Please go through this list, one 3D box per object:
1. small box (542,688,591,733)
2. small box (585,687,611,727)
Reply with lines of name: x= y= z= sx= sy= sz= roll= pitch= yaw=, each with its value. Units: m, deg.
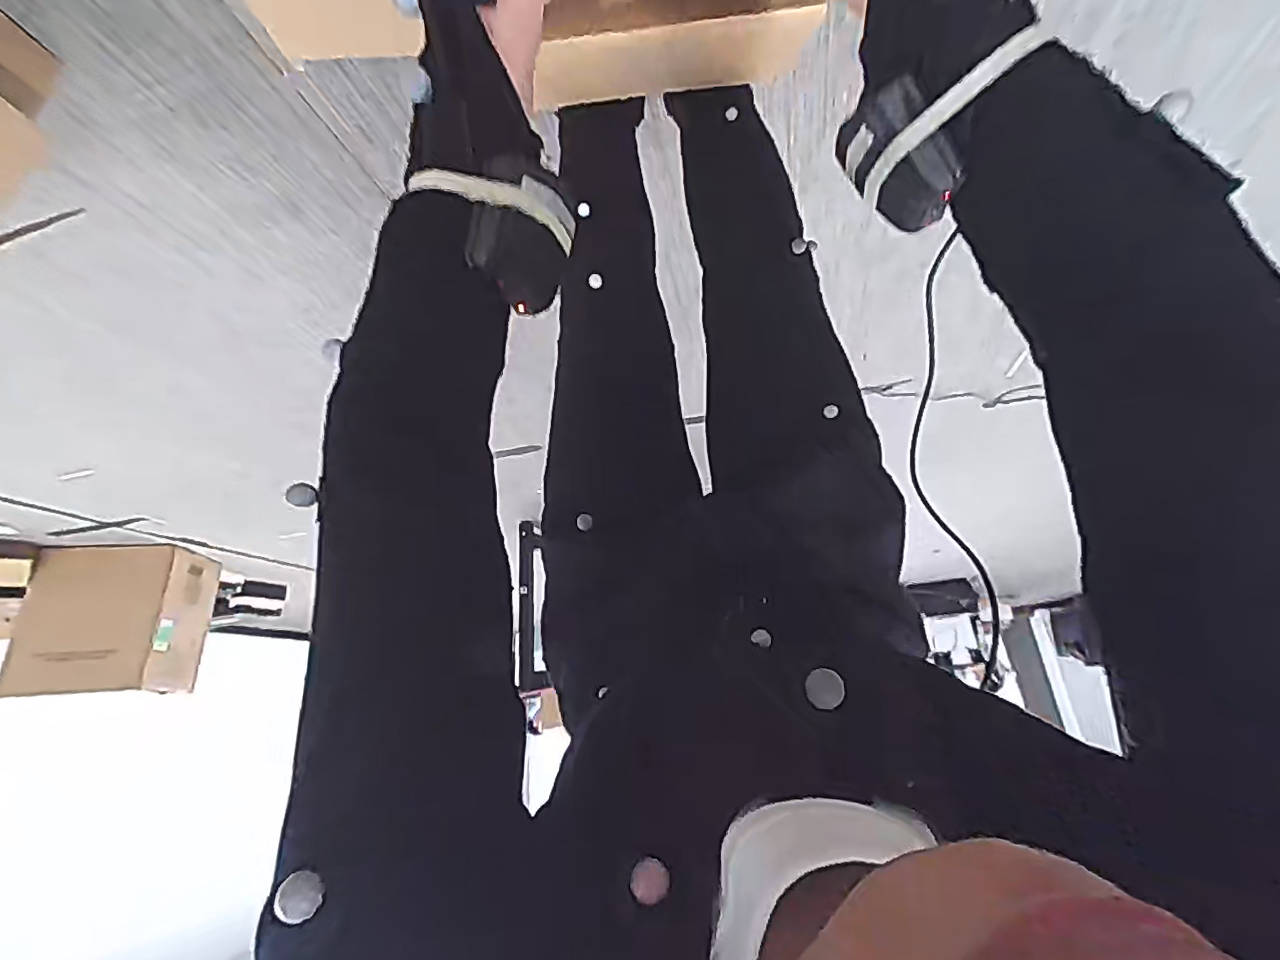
small box: x=-0.324 y=1.009 z=2.378 sx=0.179 sy=0.176 sz=0.168 roll=-7 pitch=159 yaw=7
small box: x=-0.243 y=1.087 z=2.585 sx=0.179 sy=0.176 sz=0.168 roll=-10 pitch=157 yaw=13
